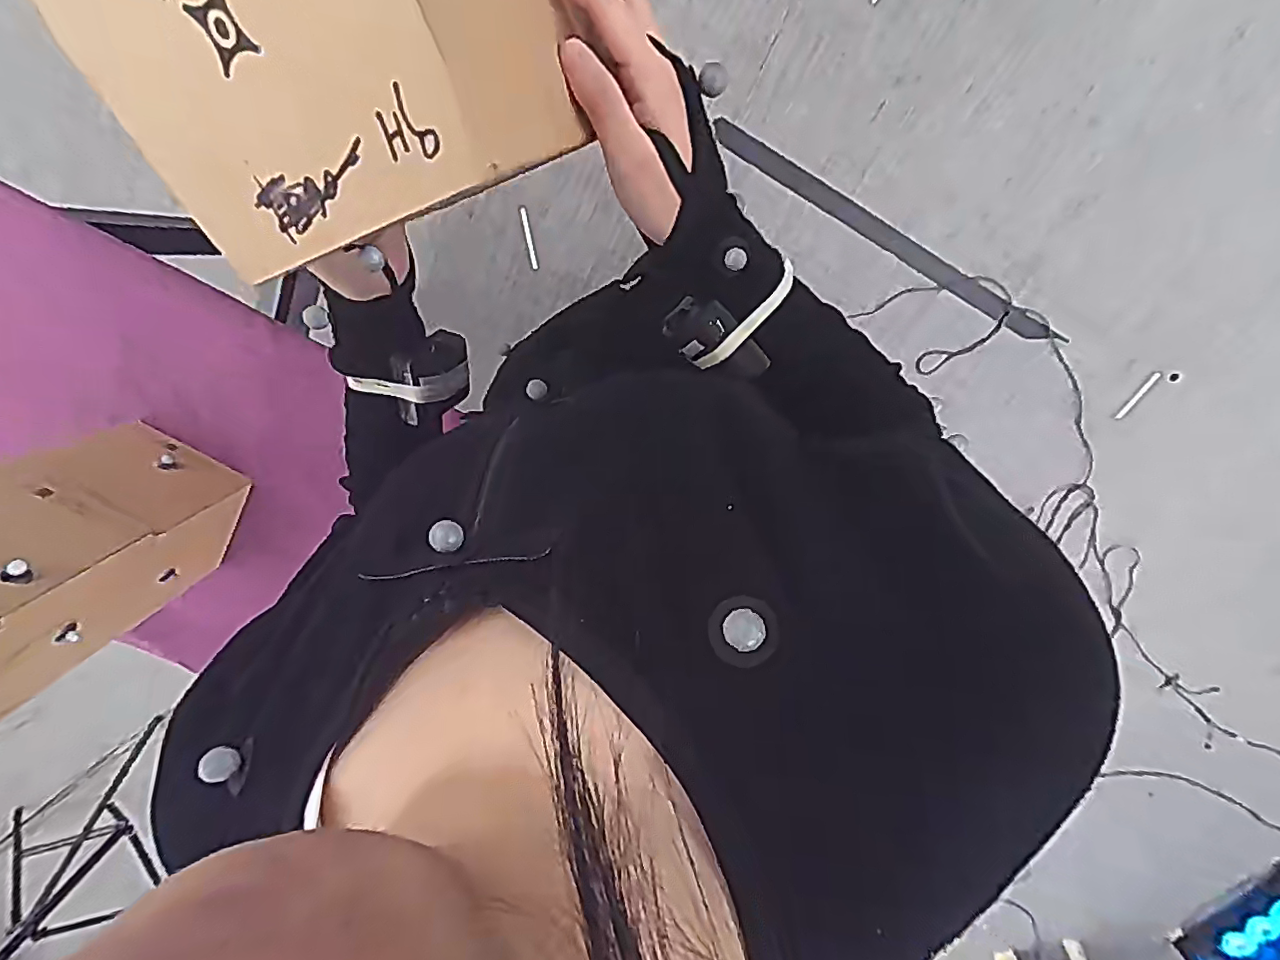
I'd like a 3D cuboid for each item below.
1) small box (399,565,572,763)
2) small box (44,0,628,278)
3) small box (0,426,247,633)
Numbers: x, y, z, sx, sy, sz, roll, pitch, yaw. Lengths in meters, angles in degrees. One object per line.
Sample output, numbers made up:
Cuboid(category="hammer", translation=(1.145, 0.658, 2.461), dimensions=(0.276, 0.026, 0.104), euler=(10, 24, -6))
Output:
Cuboid(category="small box", translation=(-0.212, 0.259, 0.787), dimensions=(0.168, 0.176, 0.179), euler=(28, 110, -10))
Cuboid(category="small box", translation=(-0.126, -0.223, 0.252), dimensions=(0.168, 0.176, 0.179), euler=(-6, 124, 27))
Cuboid(category="small box", translation=(-0.672, 0.057, 0.716), dimensions=(0.168, 0.176, 0.179), euler=(32, 109, -12))
